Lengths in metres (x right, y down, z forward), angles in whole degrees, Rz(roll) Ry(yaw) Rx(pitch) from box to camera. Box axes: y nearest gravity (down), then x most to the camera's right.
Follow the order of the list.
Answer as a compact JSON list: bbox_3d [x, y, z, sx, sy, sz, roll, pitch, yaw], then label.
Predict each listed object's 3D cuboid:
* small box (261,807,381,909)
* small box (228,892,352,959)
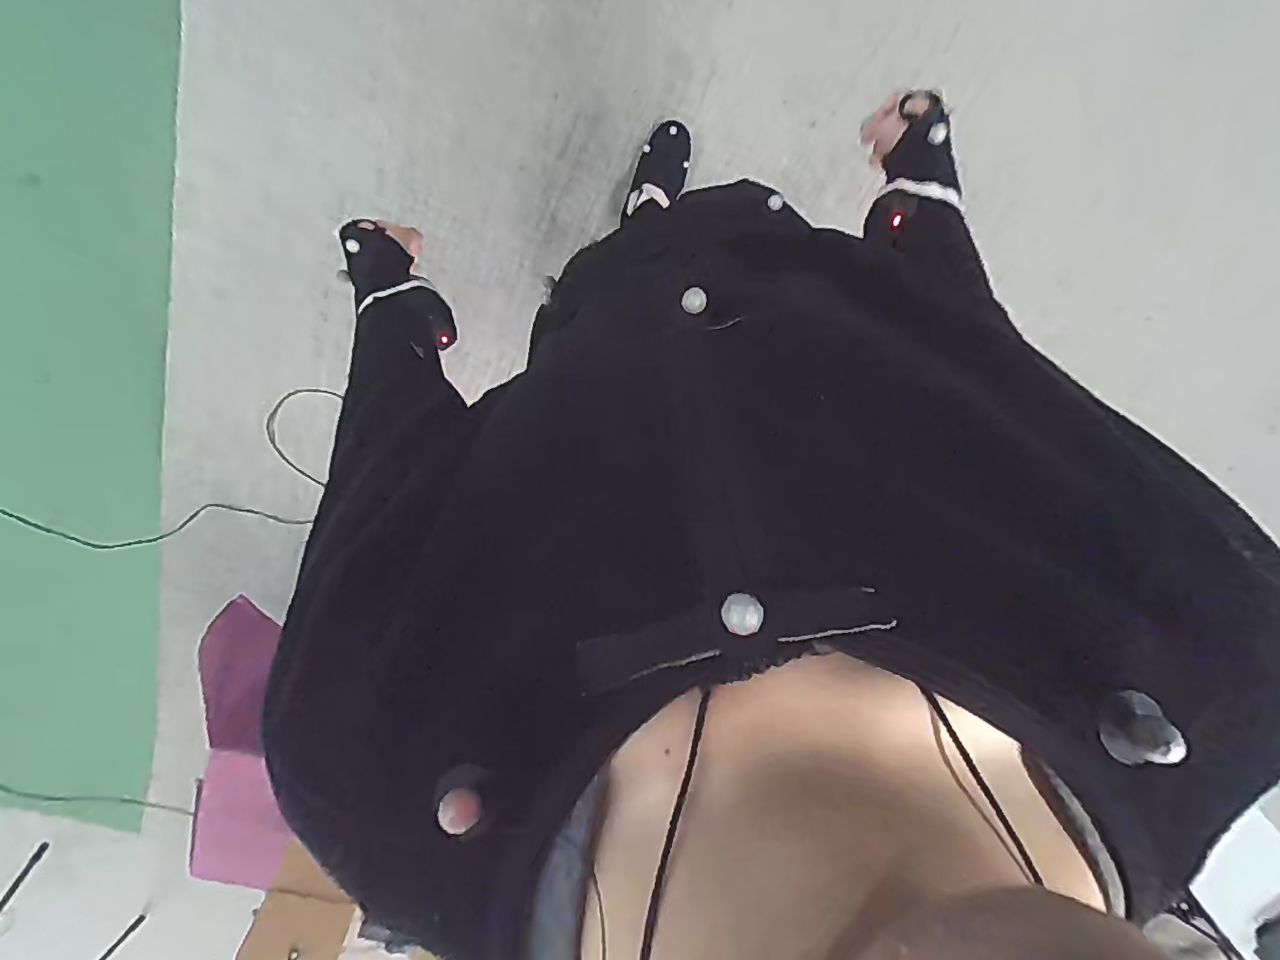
[{"bbox_3d":[-0.693,0.848,1.180,0.179,0.176,0.168,20,118,-13],"label":"small box"},{"bbox_3d":[-0.689,0.929,1.037,0.179,0.176,0.168,21,118,-13],"label":"small box"}]
